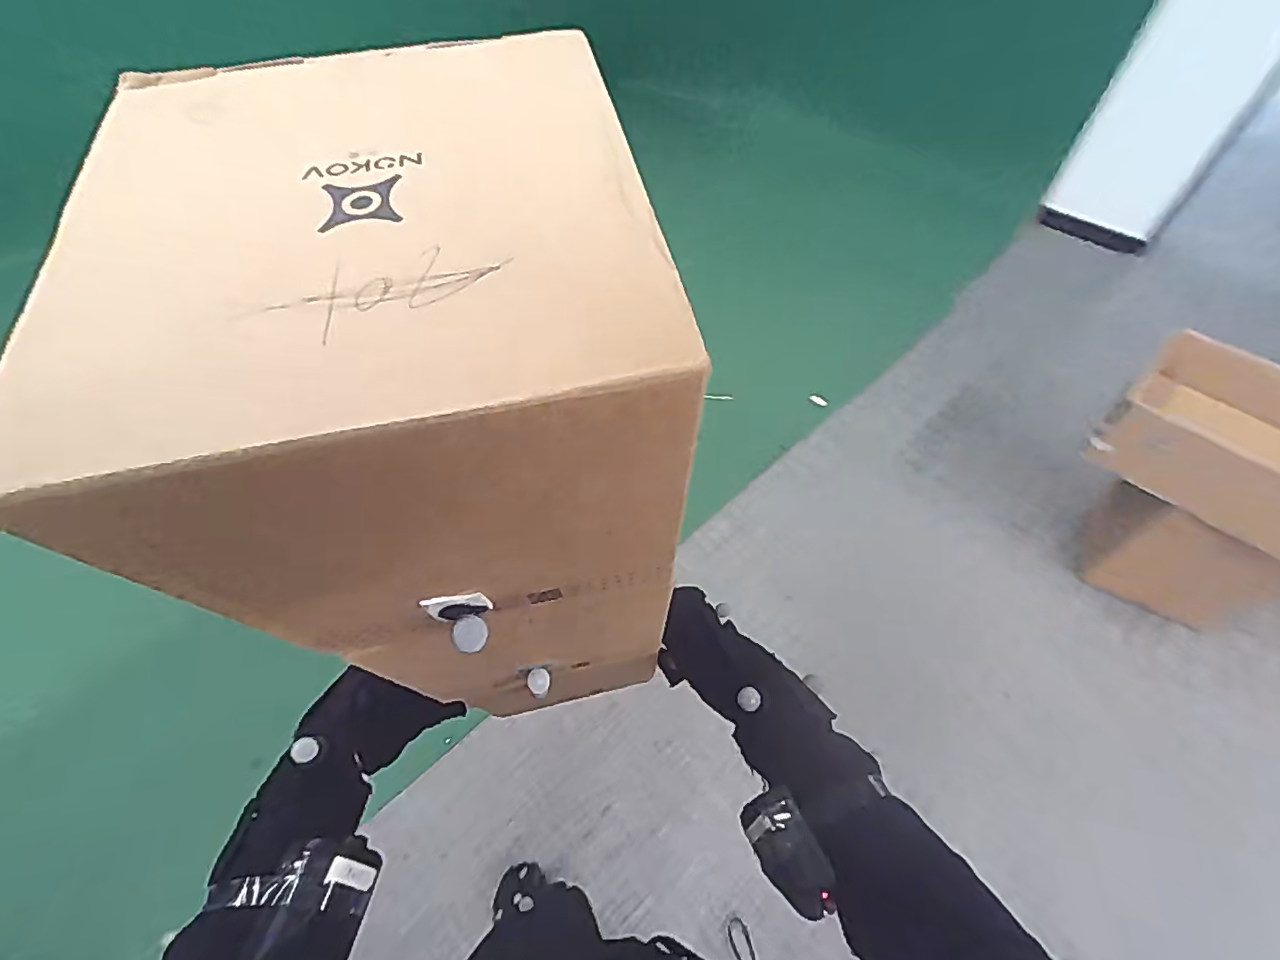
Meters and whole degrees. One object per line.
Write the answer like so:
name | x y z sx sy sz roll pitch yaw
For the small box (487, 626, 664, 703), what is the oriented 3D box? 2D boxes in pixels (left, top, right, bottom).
small box | -0.078 0.102 0.531 0.168 0.176 0.179 -11 61 -6

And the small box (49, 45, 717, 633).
small box | -0.076 -0.049 0.243 0.168 0.176 0.179 -11 63 -5

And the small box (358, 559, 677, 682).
small box | -0.078 0.028 0.385 0.168 0.176 0.179 -10 62 -6
